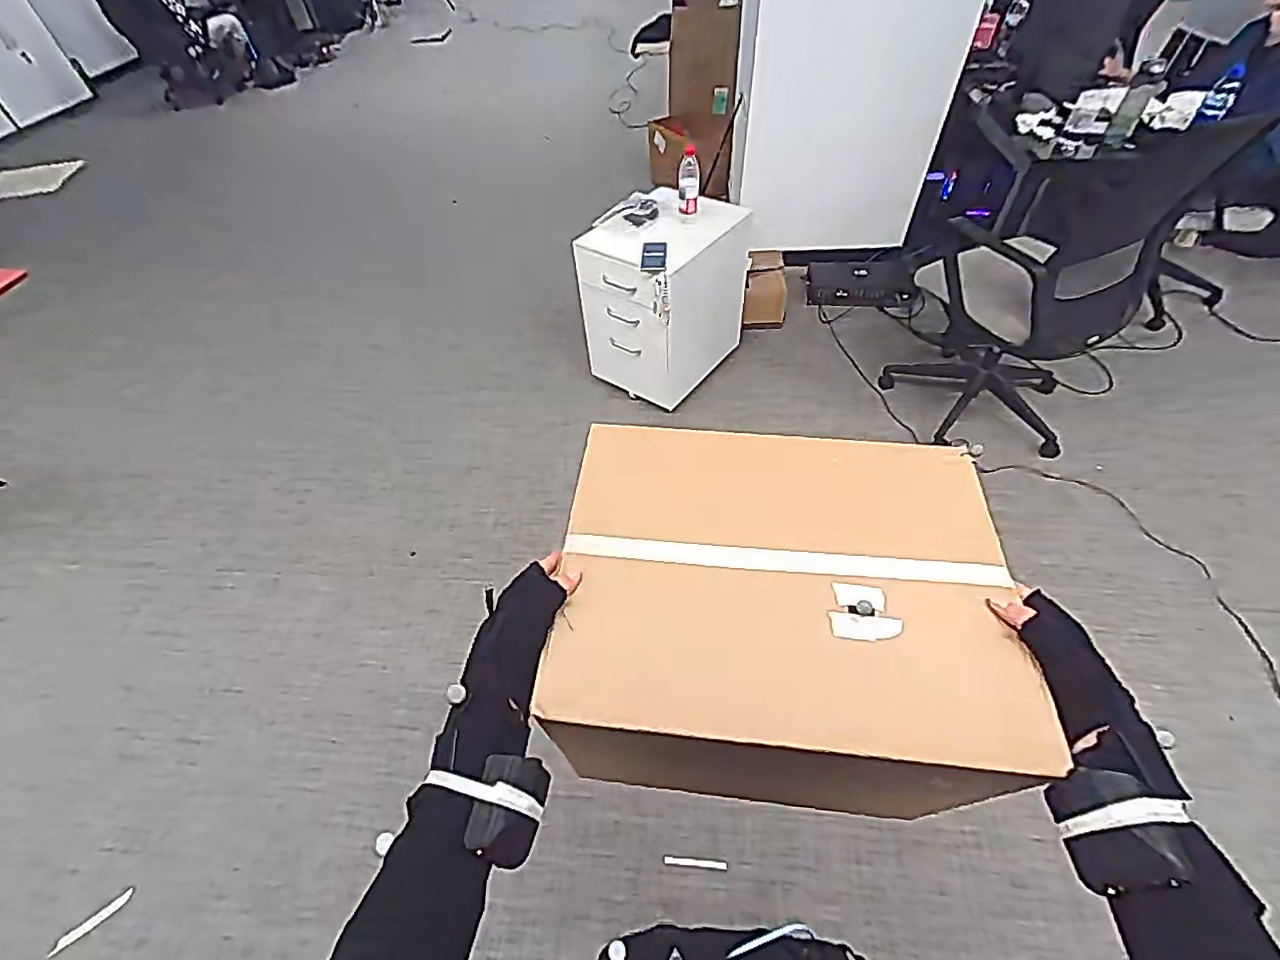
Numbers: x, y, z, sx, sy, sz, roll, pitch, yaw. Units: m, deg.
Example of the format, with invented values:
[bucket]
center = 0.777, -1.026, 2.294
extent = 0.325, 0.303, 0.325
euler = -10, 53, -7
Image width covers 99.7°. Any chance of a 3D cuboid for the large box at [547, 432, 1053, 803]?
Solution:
[large box]
center = 0.135, 0.167, 0.631
extent = 0.408, 0.320, 0.320
euler = 4, 55, 5
